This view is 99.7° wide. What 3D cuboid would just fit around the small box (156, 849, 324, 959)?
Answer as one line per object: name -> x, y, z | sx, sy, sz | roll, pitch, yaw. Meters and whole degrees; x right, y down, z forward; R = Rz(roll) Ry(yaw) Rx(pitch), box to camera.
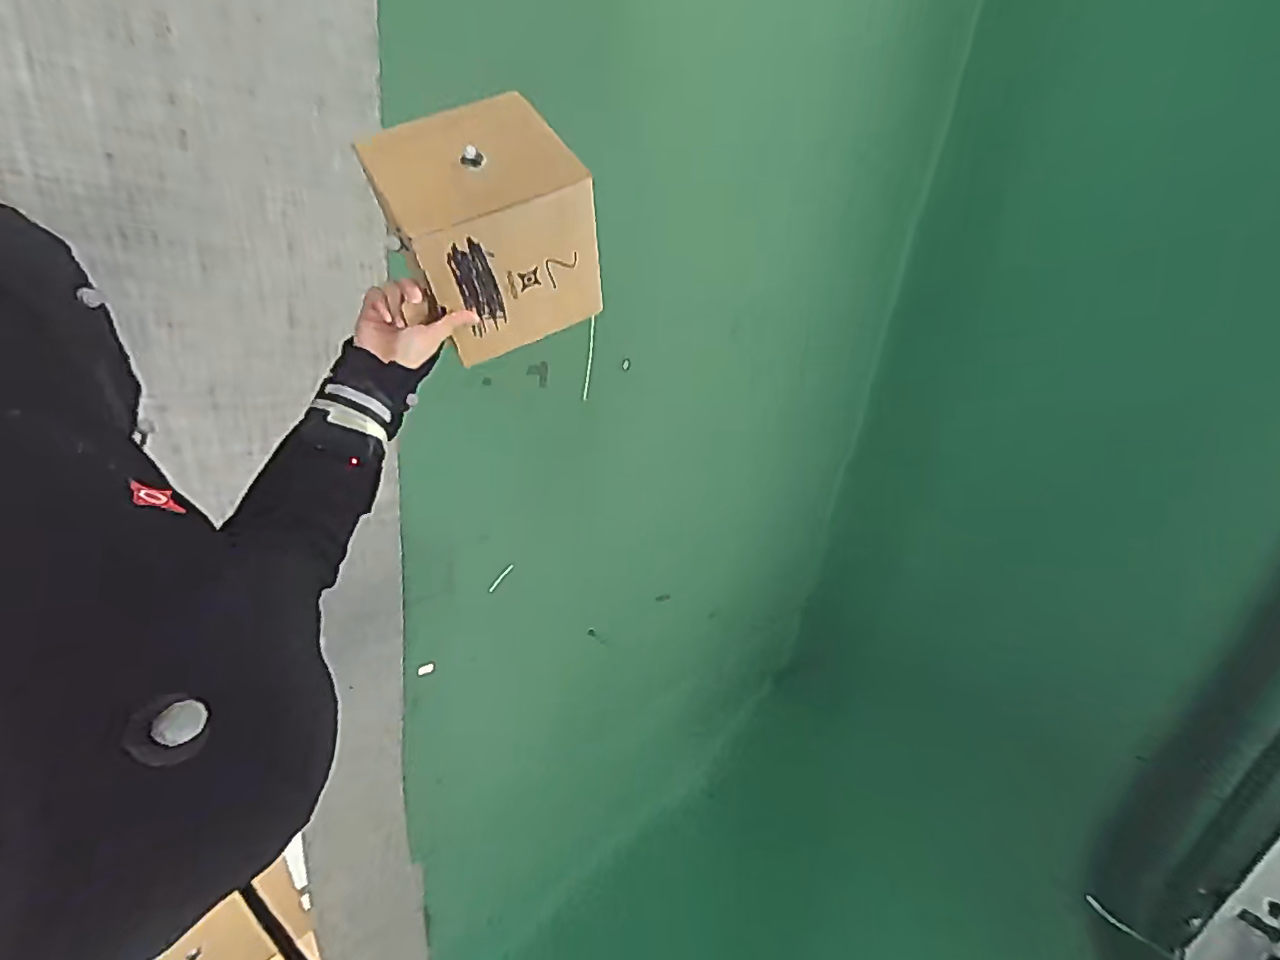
small box -> -0.613, 0.734, 0.835 | 0.179, 0.176, 0.168 | -20, 125, -43
